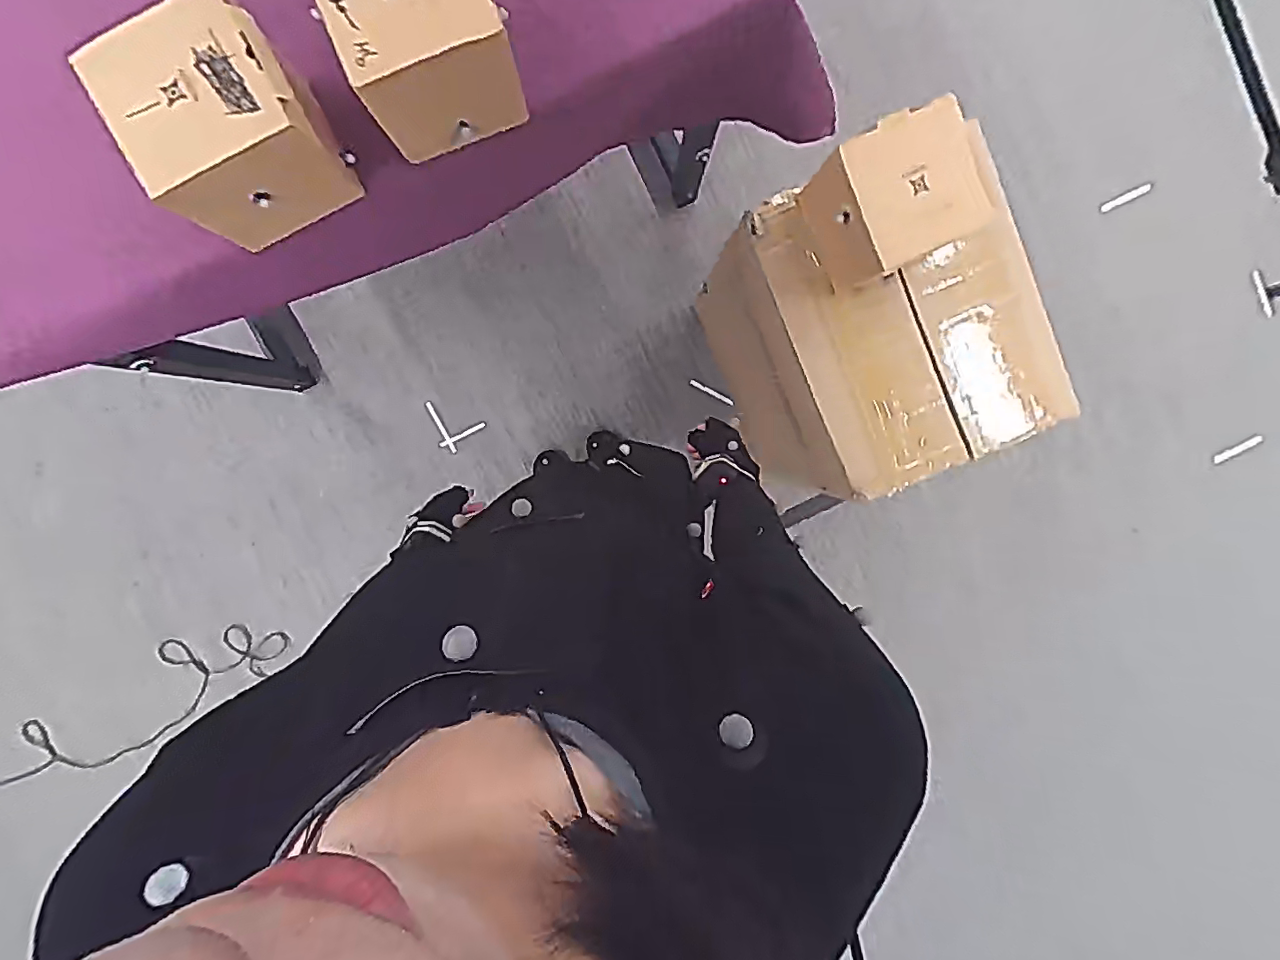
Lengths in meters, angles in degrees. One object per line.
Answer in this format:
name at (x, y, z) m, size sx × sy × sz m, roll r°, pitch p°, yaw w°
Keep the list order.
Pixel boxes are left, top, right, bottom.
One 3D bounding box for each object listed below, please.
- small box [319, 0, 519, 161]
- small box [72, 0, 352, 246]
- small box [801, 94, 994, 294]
small box at (-0.257, -0.528, 0.649) m, size 0.179 × 0.176 × 0.168 m, roll -22°, pitch 94°, yaw -1°
small box at (-0.481, -0.415, 0.647) m, size 0.179 × 0.176 × 0.168 m, roll -27°, pitch 94°, yaw 1°
small box at (0.359, -0.399, 0.788) m, size 0.168 × 0.176 × 0.179 m, roll -25°, pitch 97°, yaw 2°
